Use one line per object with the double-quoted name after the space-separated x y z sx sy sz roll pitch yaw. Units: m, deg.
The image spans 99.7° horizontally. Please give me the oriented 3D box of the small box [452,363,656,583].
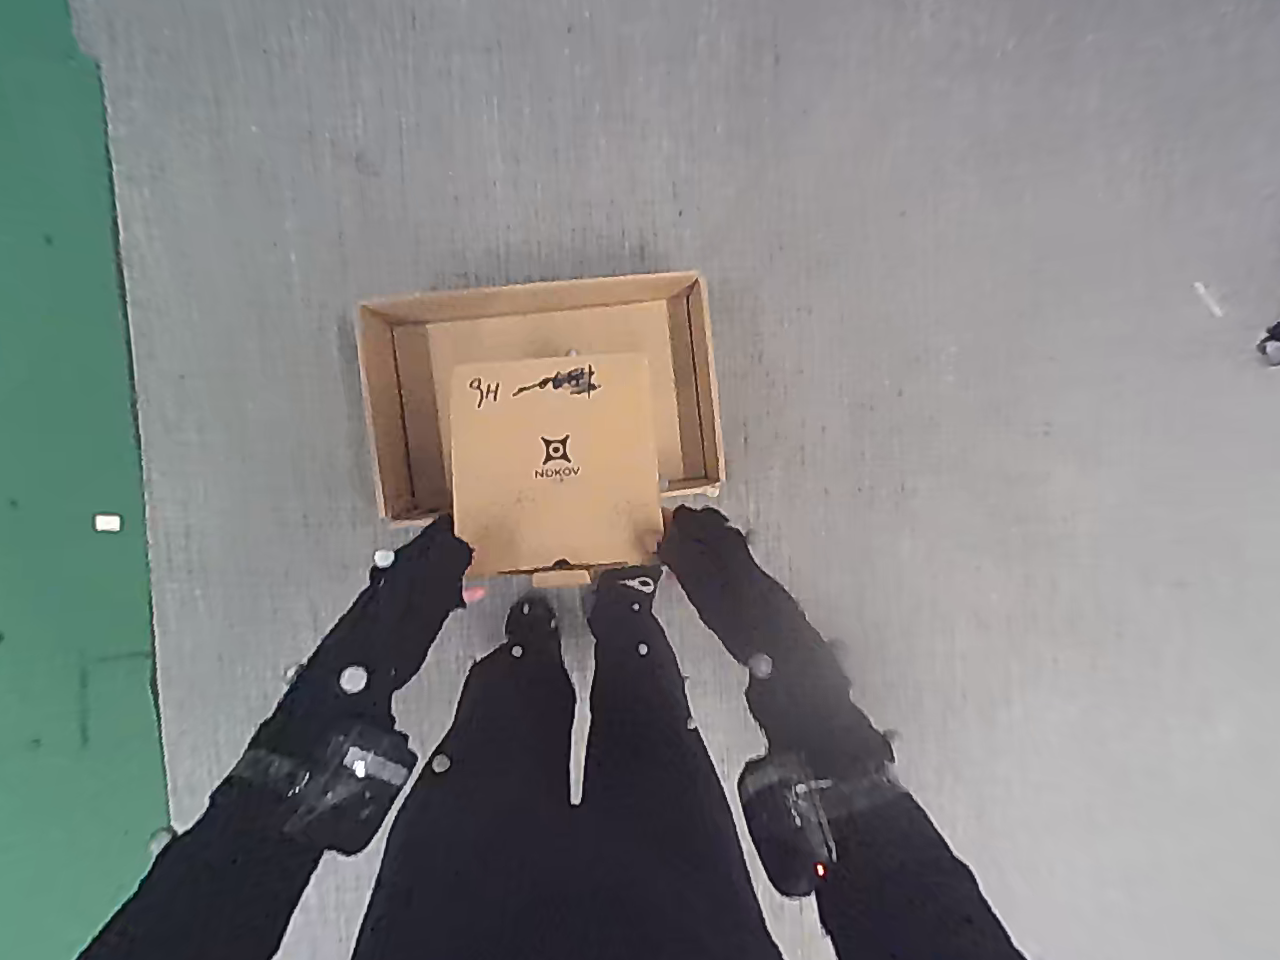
-0.073 0.001 0.524 0.168 0.176 0.179 -4 82 -3 "small box"
